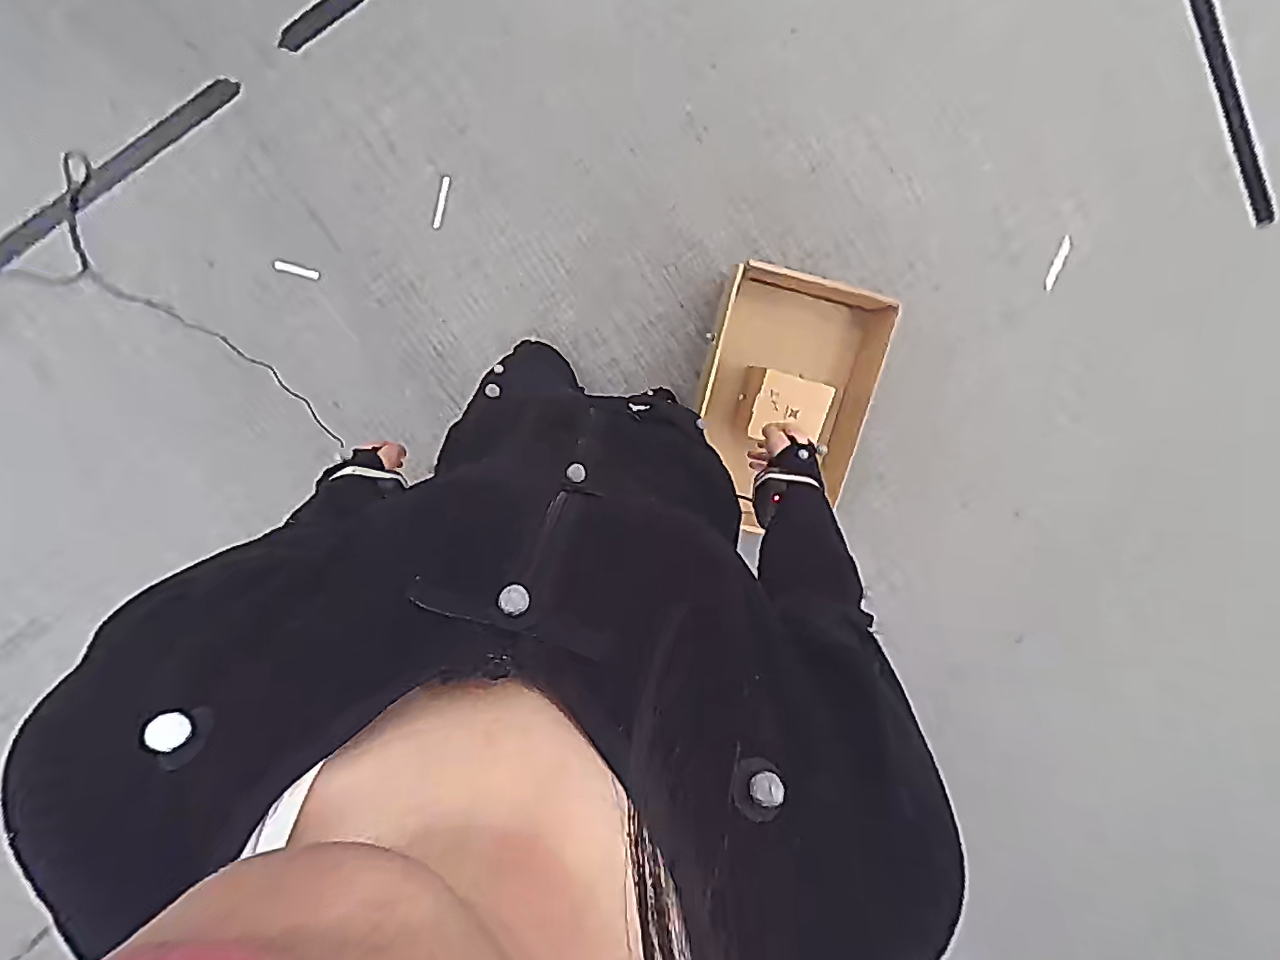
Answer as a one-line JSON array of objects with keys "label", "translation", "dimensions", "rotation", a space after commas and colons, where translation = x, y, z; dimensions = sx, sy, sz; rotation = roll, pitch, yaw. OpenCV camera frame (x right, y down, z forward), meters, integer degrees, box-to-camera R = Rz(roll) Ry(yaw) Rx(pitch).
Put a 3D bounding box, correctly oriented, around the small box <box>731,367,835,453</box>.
[{"label": "small box", "translation": [0.347, -0.180, 1.347], "dimensions": [0.179, 0.176, 0.168], "rotation": [16, 102, -7]}]
